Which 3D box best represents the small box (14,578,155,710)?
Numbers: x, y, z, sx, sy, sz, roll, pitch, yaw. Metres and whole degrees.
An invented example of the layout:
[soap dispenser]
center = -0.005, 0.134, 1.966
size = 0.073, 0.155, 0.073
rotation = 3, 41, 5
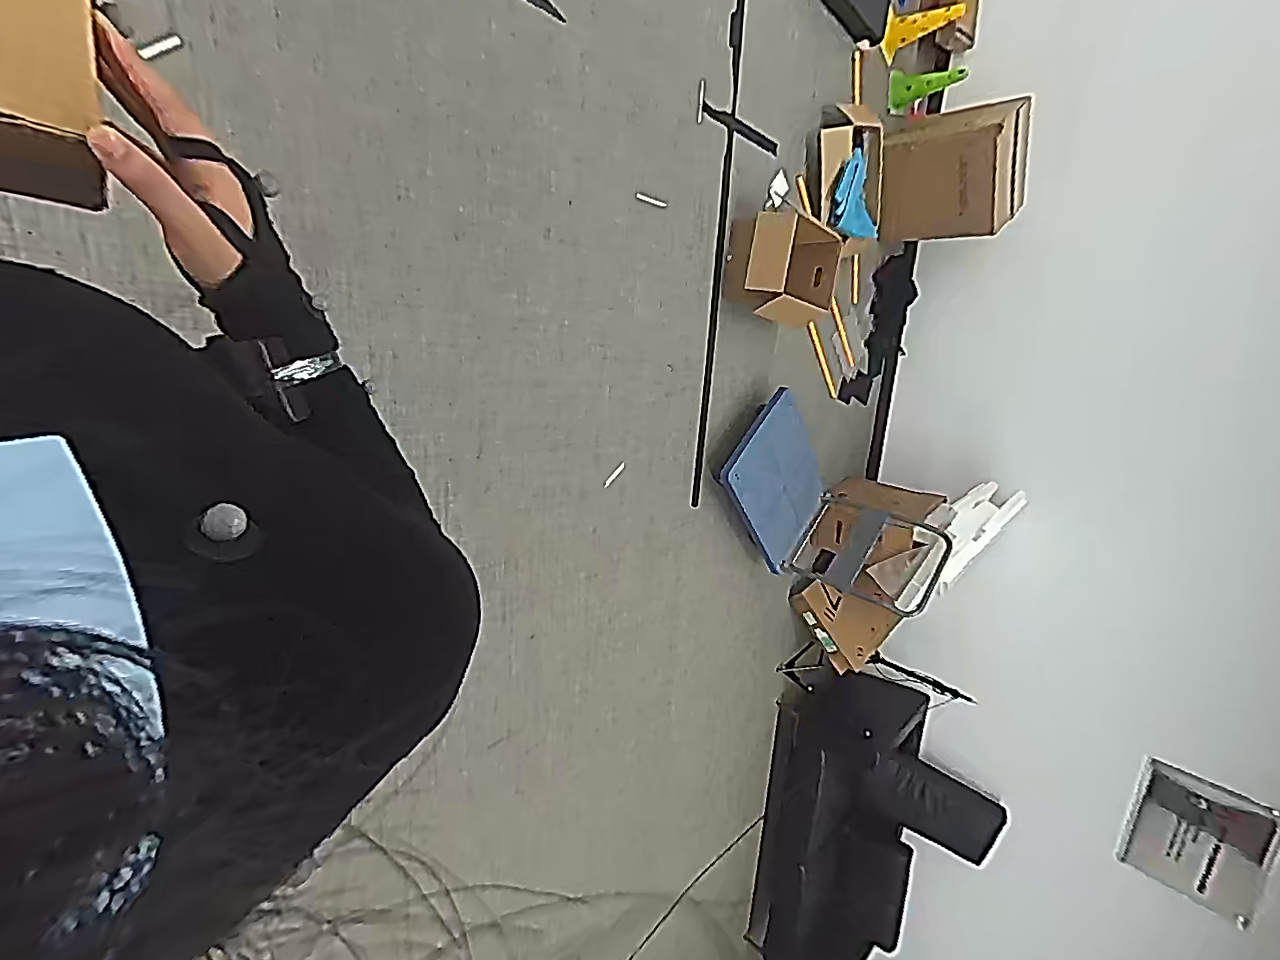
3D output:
[small box]
center = -1.098, 0.310, 1.074
size = 0.168, 0.176, 0.179
rotation = -14, 113, -43
